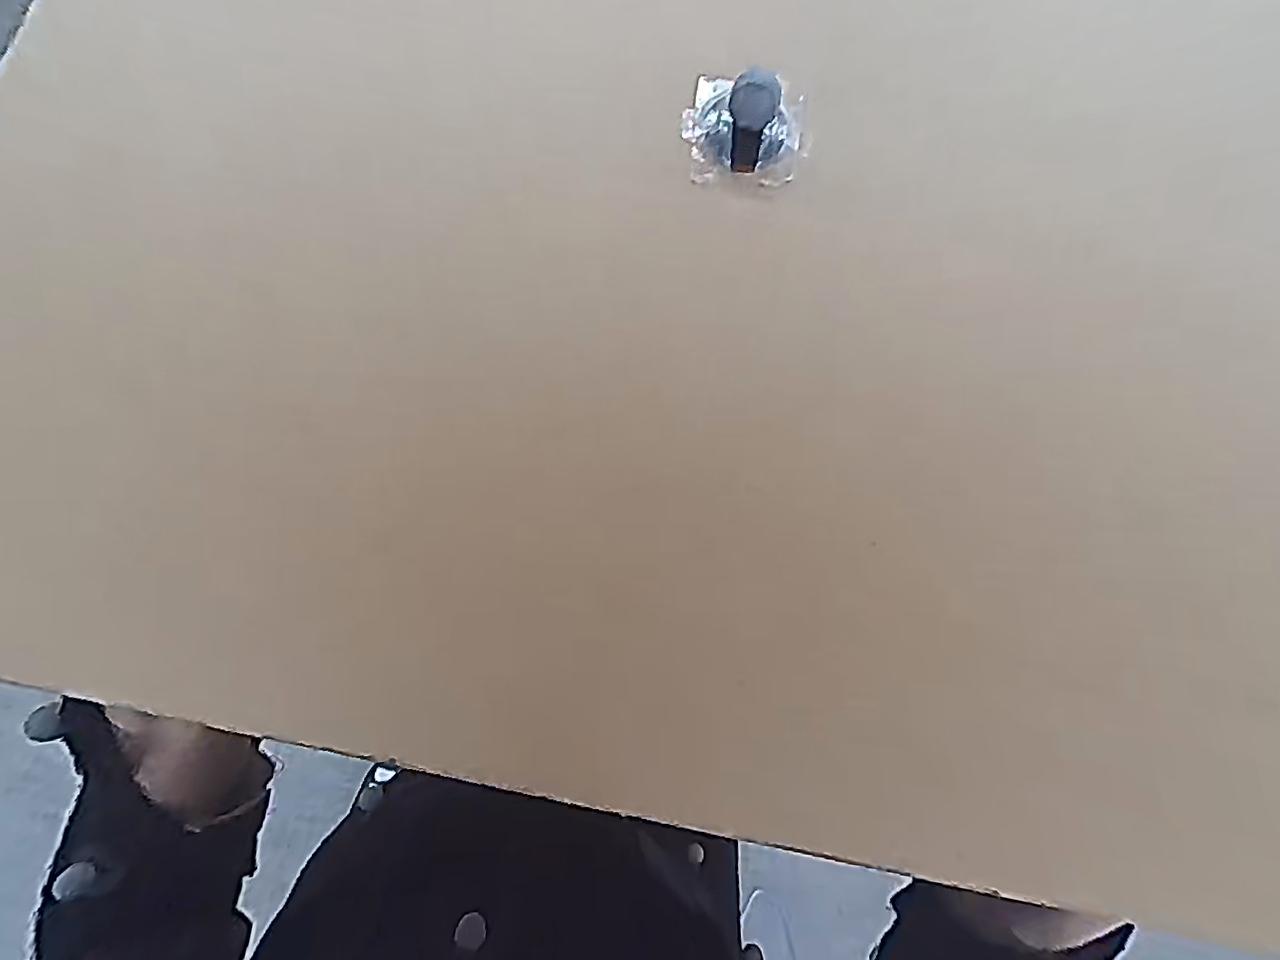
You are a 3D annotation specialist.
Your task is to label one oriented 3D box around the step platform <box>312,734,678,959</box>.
[{"bbox_3d":[-0.270,0.762,1.088,0.684,0.204,0.286,17,75,3],"label":"step platform"}]
